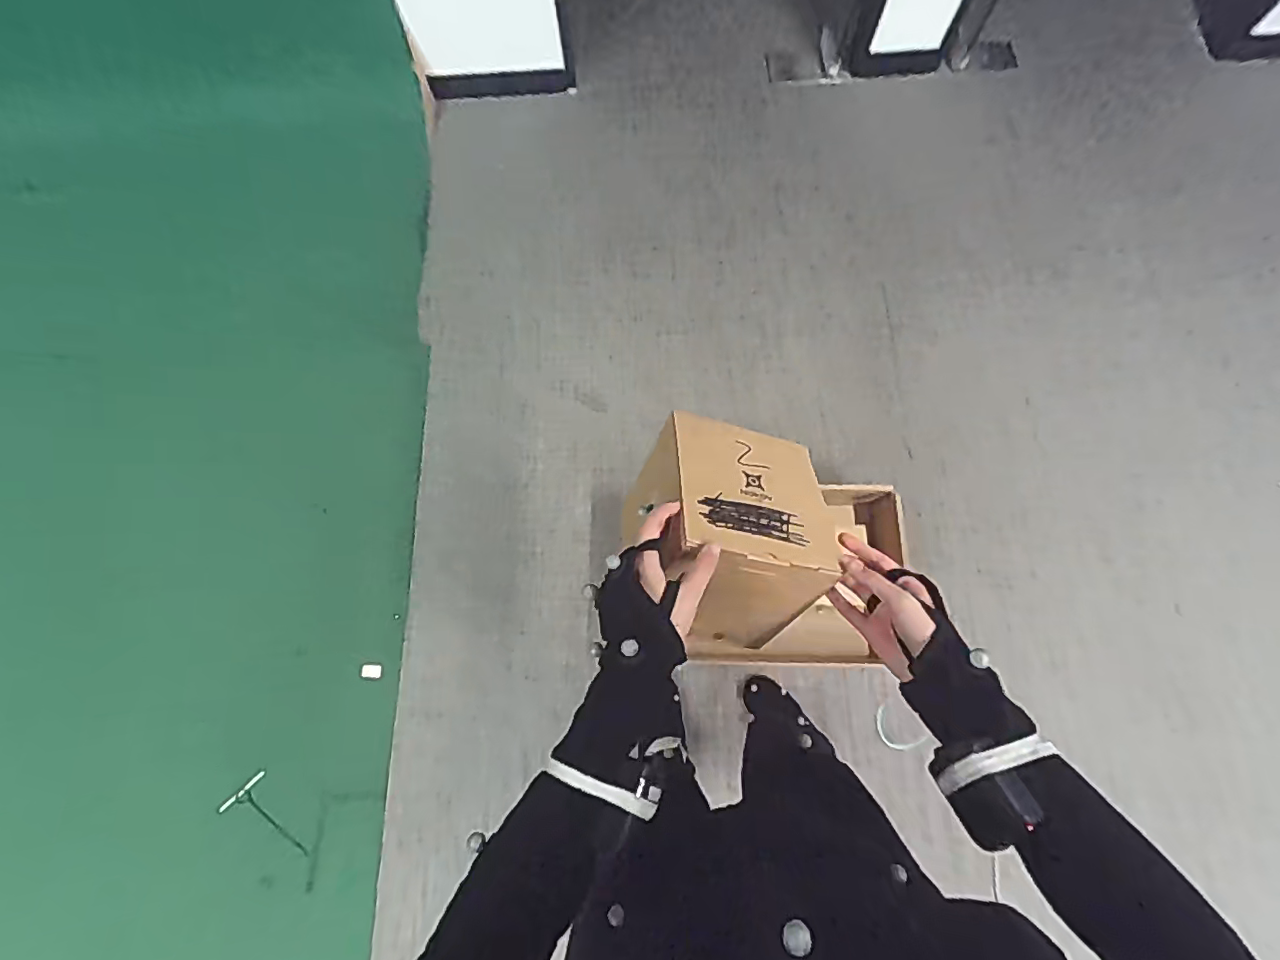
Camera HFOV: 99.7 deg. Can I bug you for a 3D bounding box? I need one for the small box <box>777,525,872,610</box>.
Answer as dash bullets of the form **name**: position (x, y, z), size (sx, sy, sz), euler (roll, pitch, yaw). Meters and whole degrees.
- **small box**: position (0.415, 0.205, 1.244), size (0.168, 0.176, 0.179), euler (0, 75, 3)
